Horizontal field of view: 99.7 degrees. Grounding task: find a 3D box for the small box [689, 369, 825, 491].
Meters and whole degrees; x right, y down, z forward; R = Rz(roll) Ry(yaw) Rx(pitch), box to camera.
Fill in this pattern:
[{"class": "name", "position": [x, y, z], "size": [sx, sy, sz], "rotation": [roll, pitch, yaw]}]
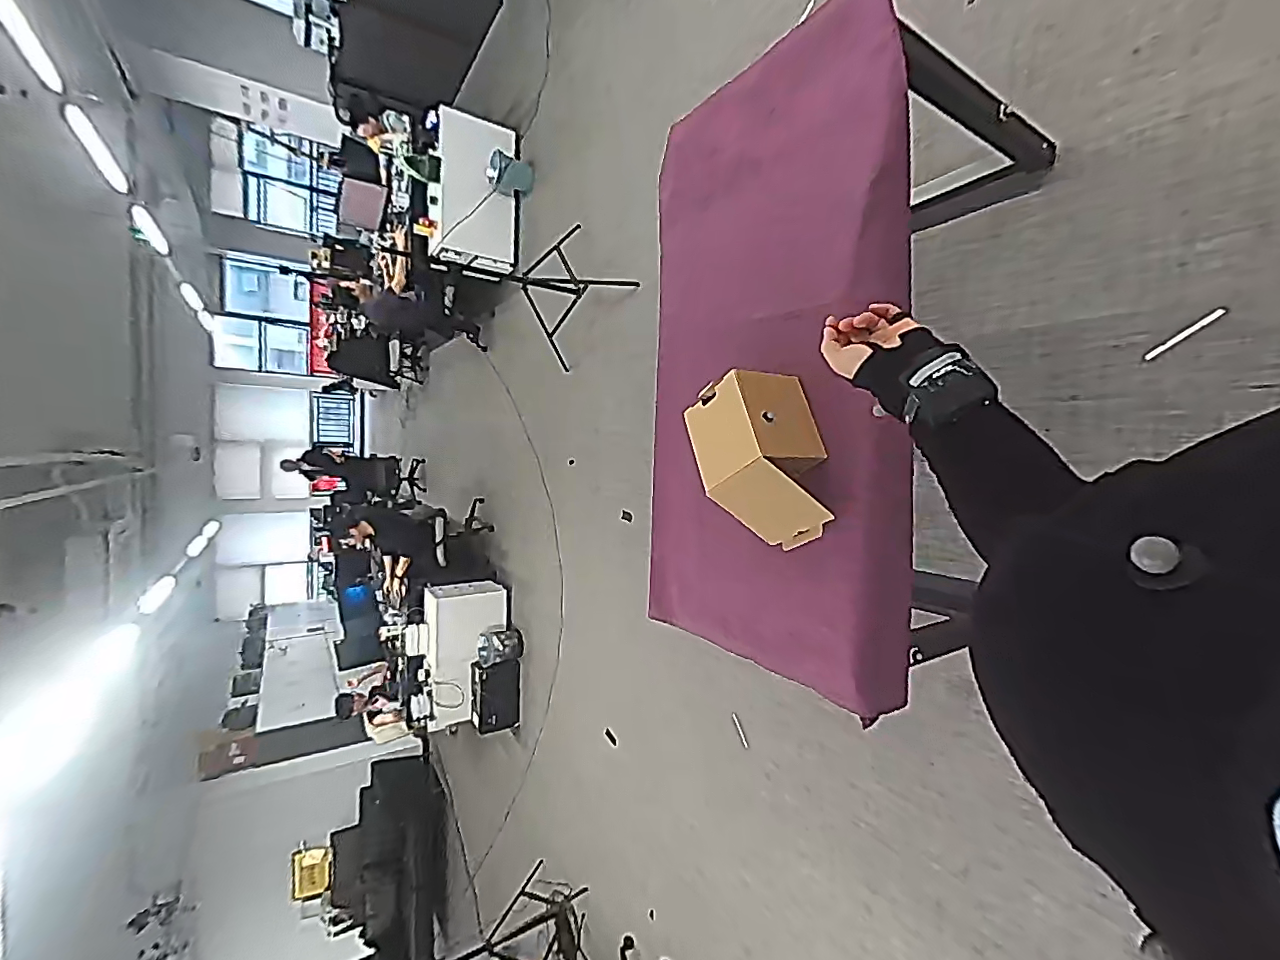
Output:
[{"class": "small box", "position": [0.222, -0.089, 1.030], "size": [0.168, 0.176, 0.179], "rotation": [-39, 57, 51]}]
